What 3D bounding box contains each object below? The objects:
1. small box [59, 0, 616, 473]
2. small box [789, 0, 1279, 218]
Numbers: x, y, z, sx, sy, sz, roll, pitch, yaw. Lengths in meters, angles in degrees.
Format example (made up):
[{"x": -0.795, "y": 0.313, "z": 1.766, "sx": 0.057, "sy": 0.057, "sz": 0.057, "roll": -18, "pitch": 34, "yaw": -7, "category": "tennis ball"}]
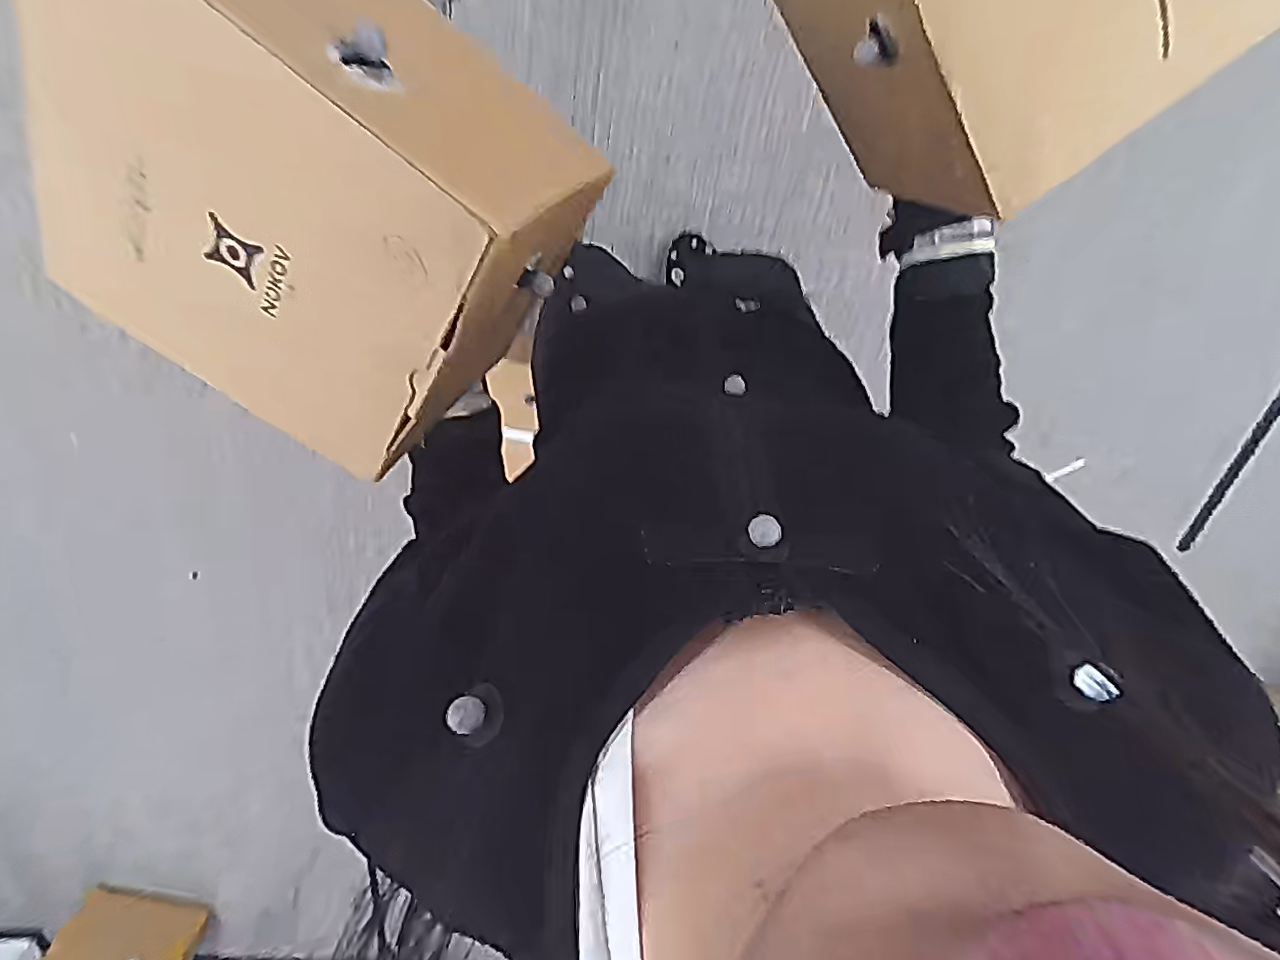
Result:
[{"x": -0.137, "y": -0.144, "z": 0.290, "sx": 0.179, "sy": 0.176, "sz": 0.168, "roll": 37, "pitch": 126, "yaw": -12, "category": "small box"}, {"x": 0.194, "y": -0.271, "z": 0.277, "sx": 0.168, "sy": 0.176, "sz": 0.179, "roll": -35, "pitch": 119, "yaw": 19, "category": "small box"}]
